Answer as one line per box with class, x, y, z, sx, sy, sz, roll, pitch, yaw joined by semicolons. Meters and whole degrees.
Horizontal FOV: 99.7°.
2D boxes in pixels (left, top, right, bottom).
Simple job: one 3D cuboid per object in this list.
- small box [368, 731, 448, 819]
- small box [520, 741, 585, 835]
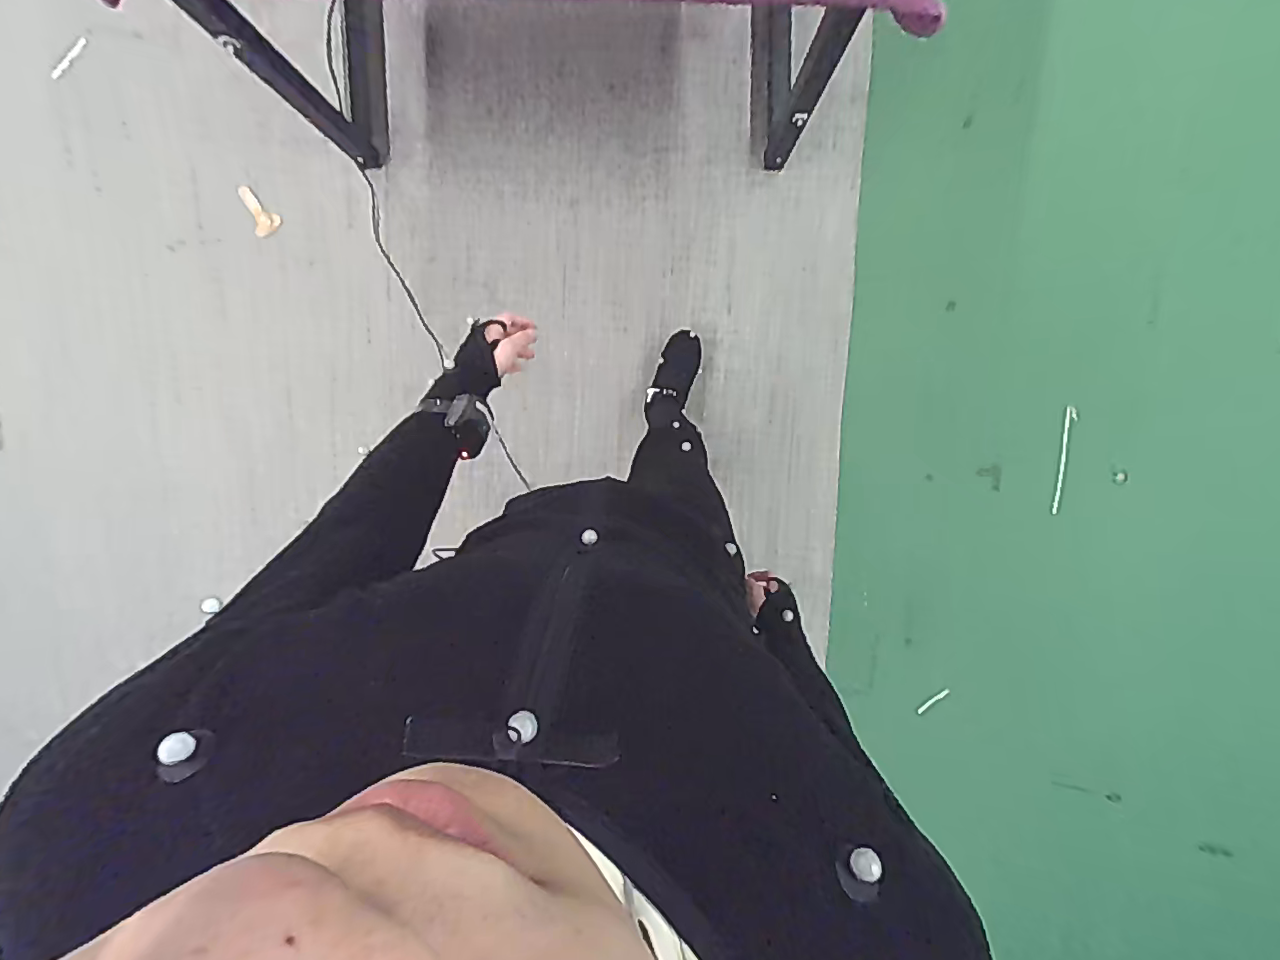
small box;-0.690;0.879;1.625;0.179;0.176;0.168;4;97;1
small box;-0.257;0.918;1.620;0.168;0.176;0.179;4;97;0
